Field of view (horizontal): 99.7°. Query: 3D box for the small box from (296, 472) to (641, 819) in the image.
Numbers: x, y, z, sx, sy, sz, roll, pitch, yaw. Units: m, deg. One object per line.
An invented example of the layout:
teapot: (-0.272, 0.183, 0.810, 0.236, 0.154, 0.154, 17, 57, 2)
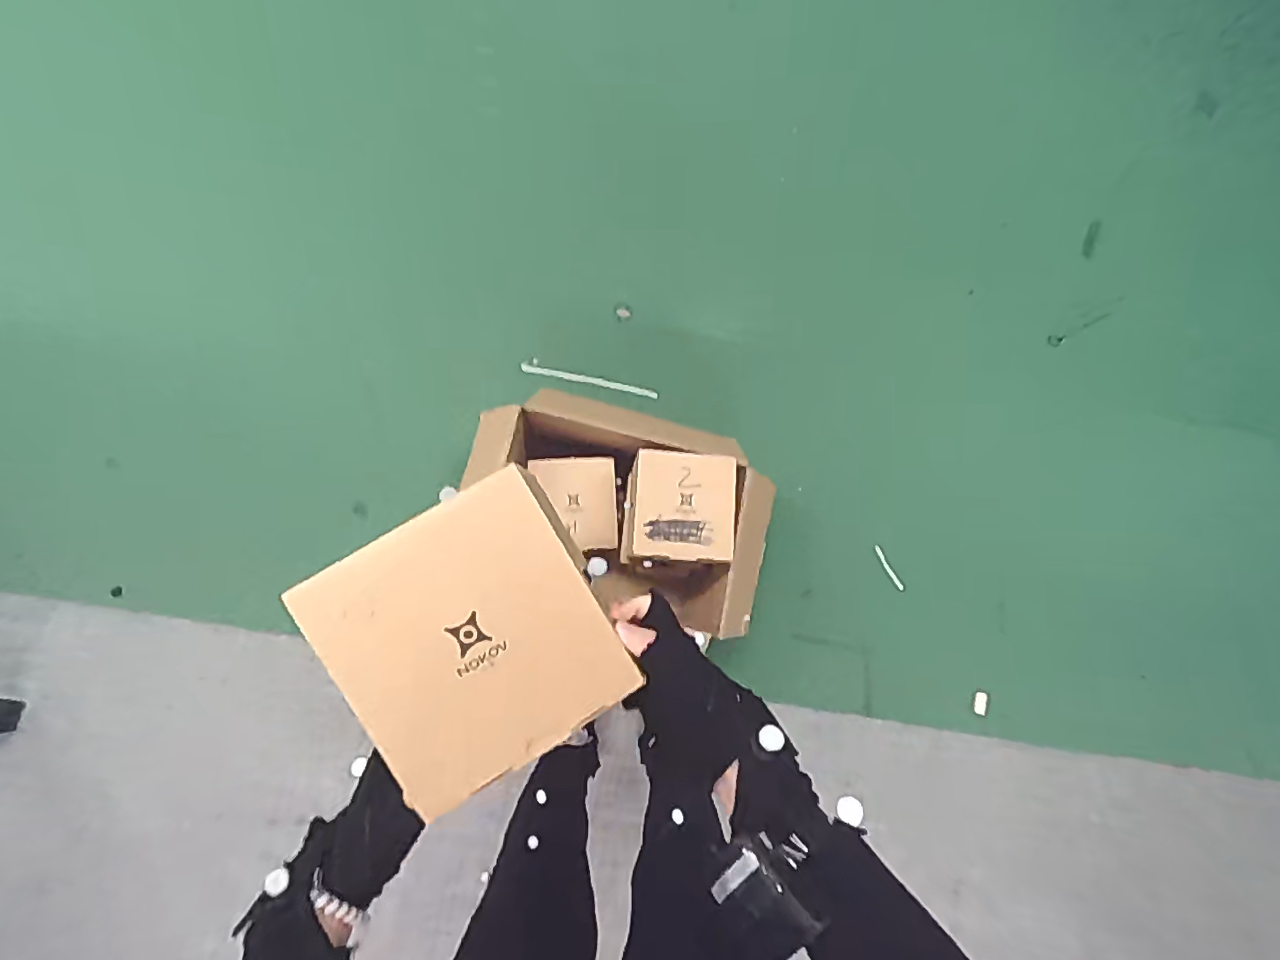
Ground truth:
small box: (-0.123, 0.110, 0.436, 0.168, 0.176, 0.179, -30, 94, -9)
